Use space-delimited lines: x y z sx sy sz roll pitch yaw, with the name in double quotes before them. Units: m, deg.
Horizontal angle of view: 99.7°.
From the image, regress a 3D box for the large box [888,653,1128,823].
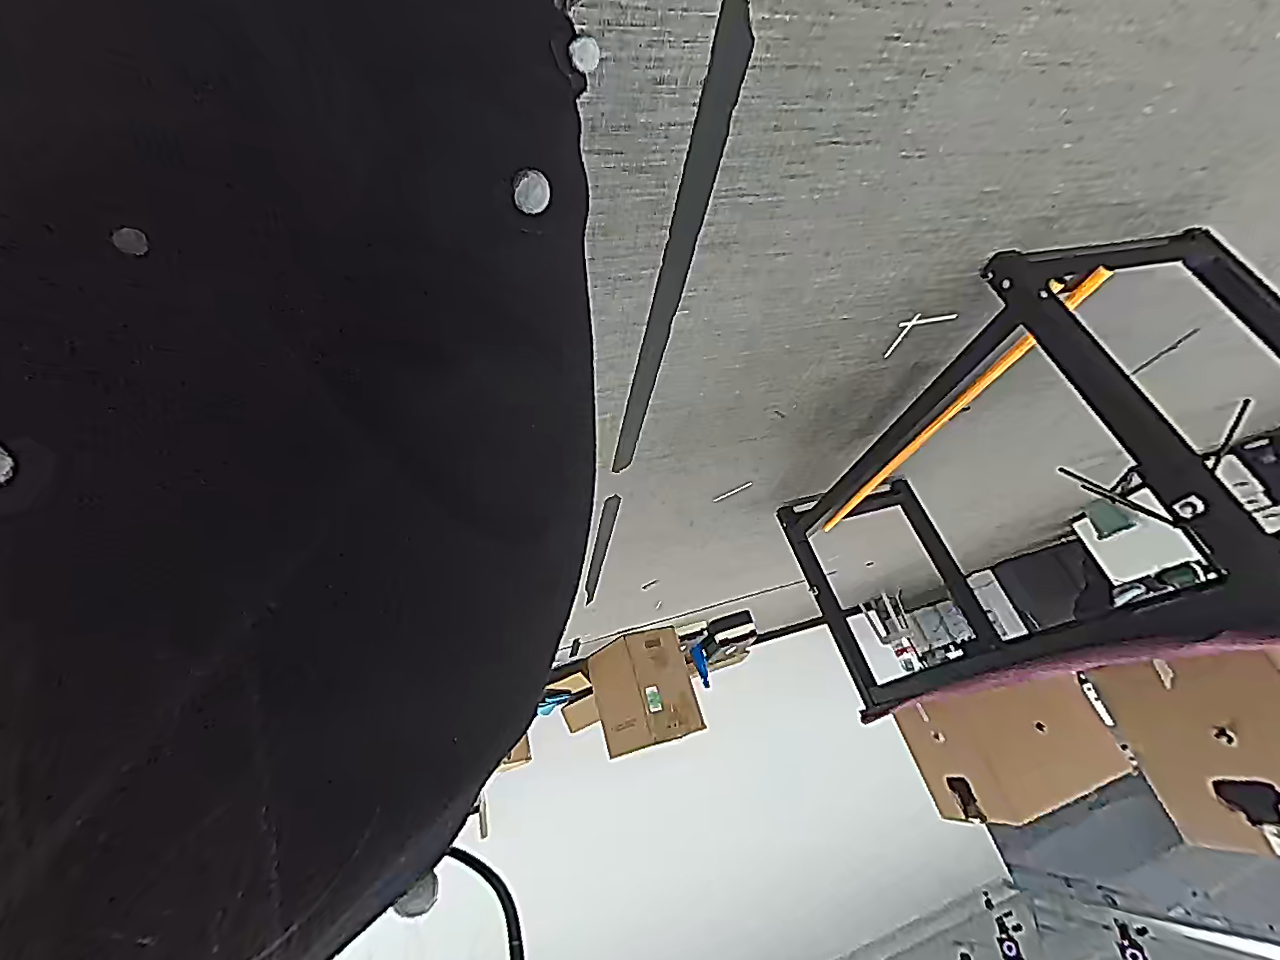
"large box" 1.018 0.730 1.547 0.408 0.320 0.320 -13 155 -16
